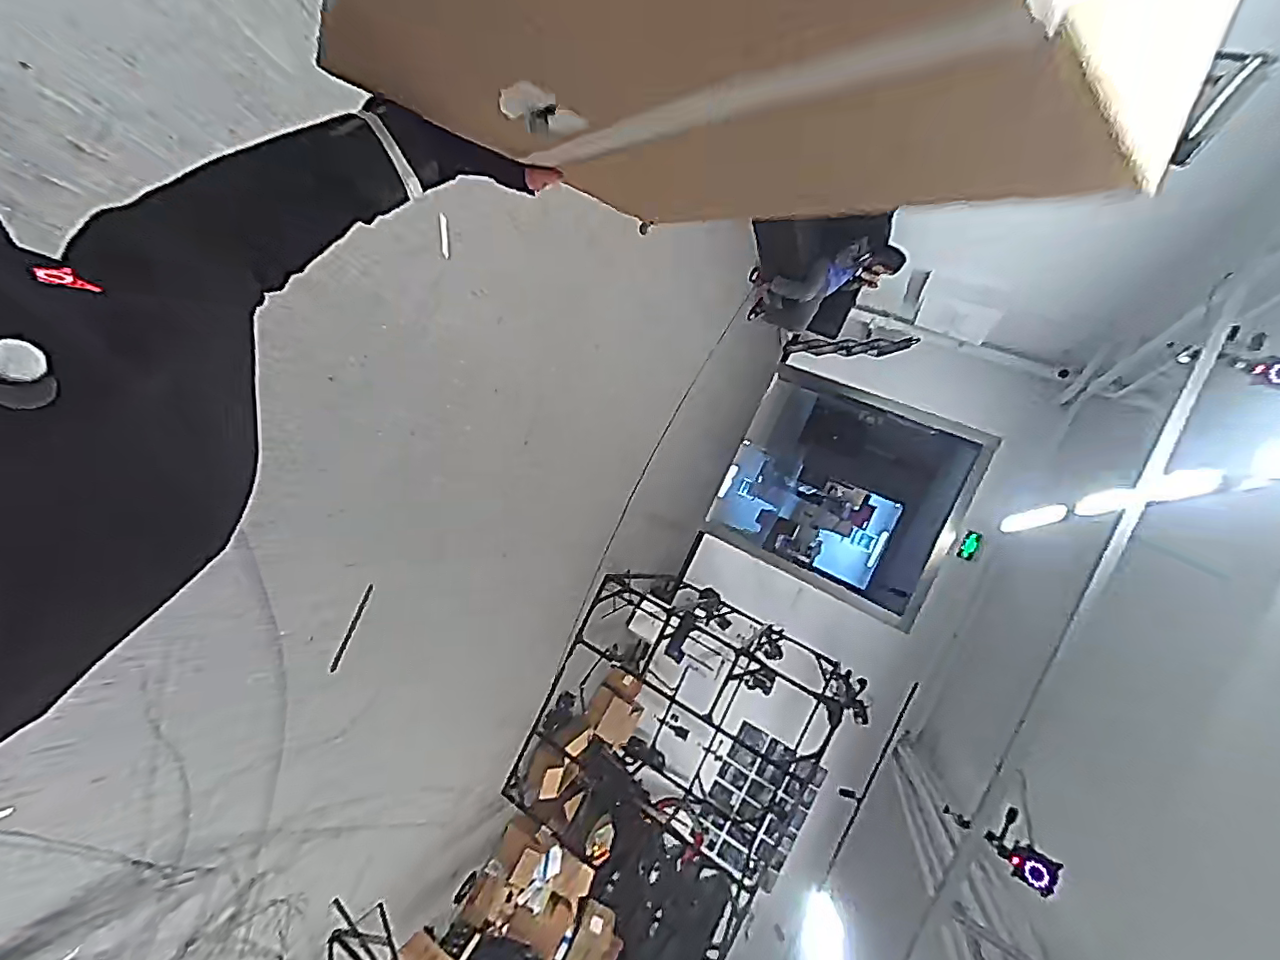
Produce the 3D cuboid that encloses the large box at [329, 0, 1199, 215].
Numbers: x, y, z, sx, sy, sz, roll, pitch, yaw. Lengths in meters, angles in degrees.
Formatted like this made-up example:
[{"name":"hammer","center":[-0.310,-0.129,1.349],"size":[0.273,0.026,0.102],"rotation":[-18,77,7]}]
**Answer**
[{"name":"large box","center":[0.047,-0.360,0.291],"size":[0.320,0.408,0.320],"rotation":[7,107,-38]}]
